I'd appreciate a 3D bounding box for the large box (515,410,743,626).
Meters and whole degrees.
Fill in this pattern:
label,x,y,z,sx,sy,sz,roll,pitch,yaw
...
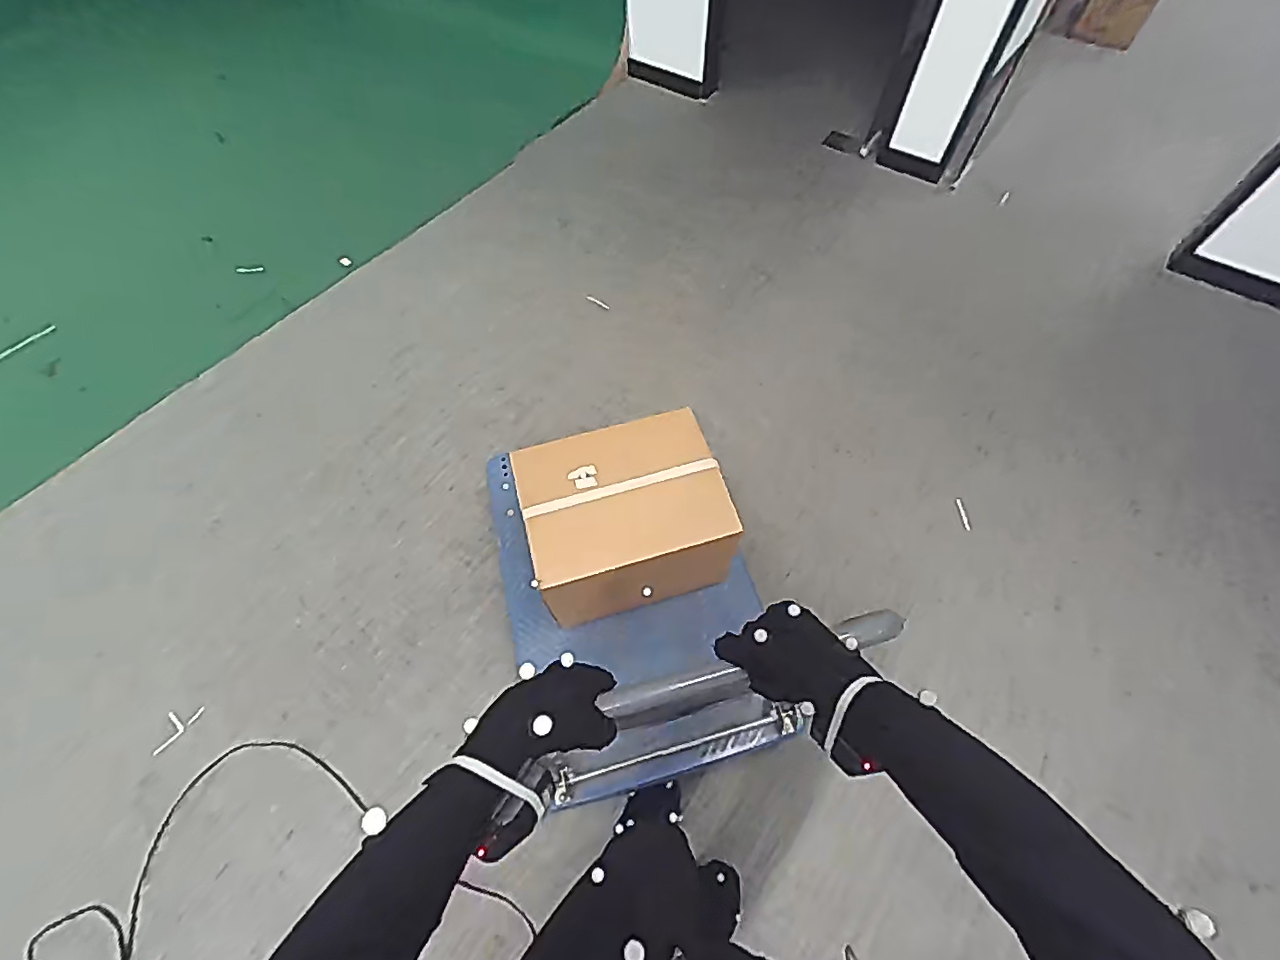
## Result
label,x,y,z,sx,sy,sz,roll,pitch,yaw
large box,-0.027,0.096,1.224,0.408,0.320,0.320,-16,62,-7
